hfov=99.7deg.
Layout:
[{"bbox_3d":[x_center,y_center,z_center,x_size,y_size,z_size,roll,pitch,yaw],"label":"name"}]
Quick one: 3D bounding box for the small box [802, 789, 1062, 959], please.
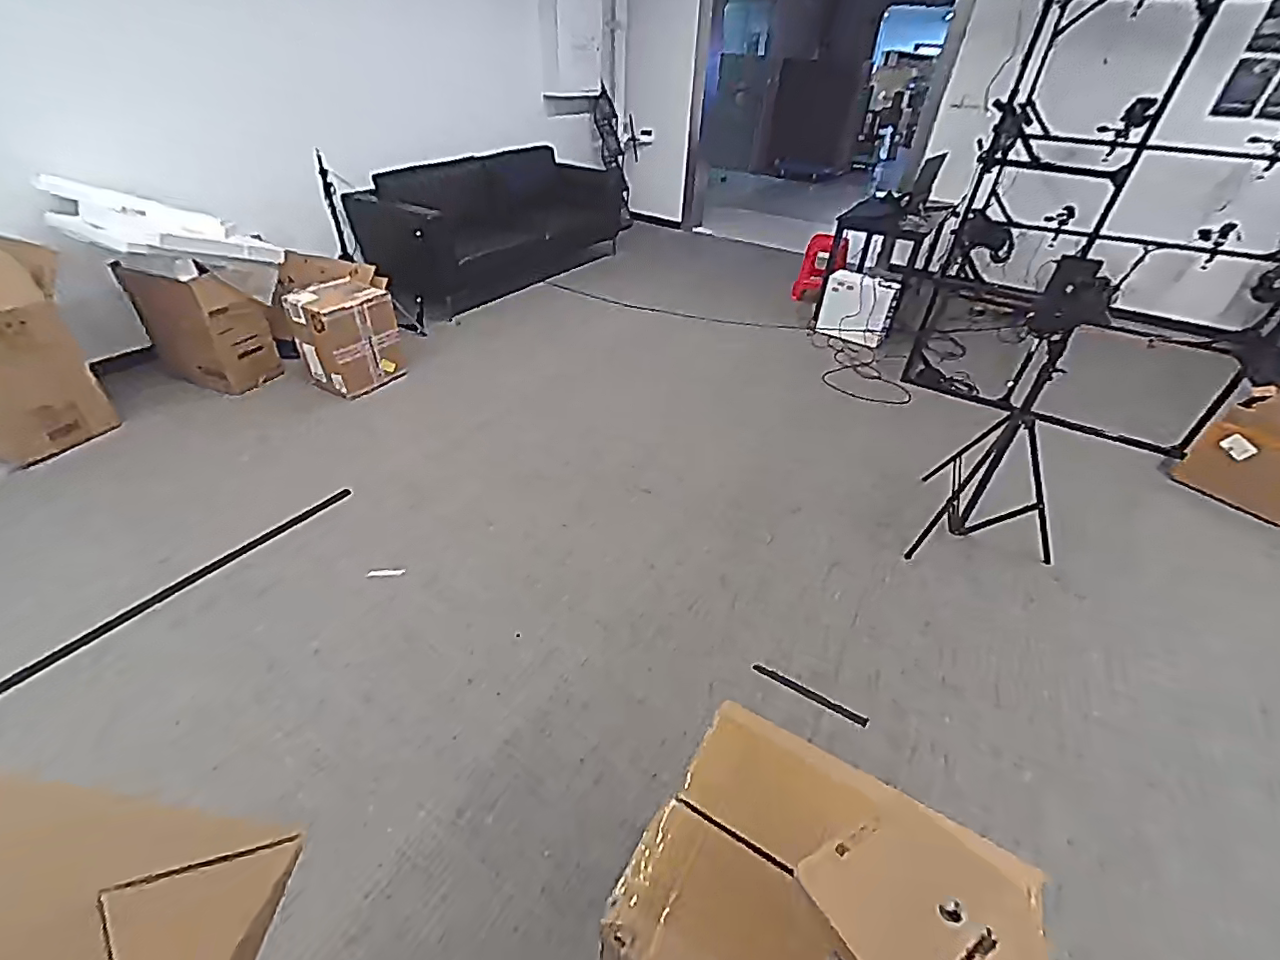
[{"bbox_3d":[0.307,0.482,0.574,0.168,0.179,0.176,-28,10,-12],"label":"small box"}]
